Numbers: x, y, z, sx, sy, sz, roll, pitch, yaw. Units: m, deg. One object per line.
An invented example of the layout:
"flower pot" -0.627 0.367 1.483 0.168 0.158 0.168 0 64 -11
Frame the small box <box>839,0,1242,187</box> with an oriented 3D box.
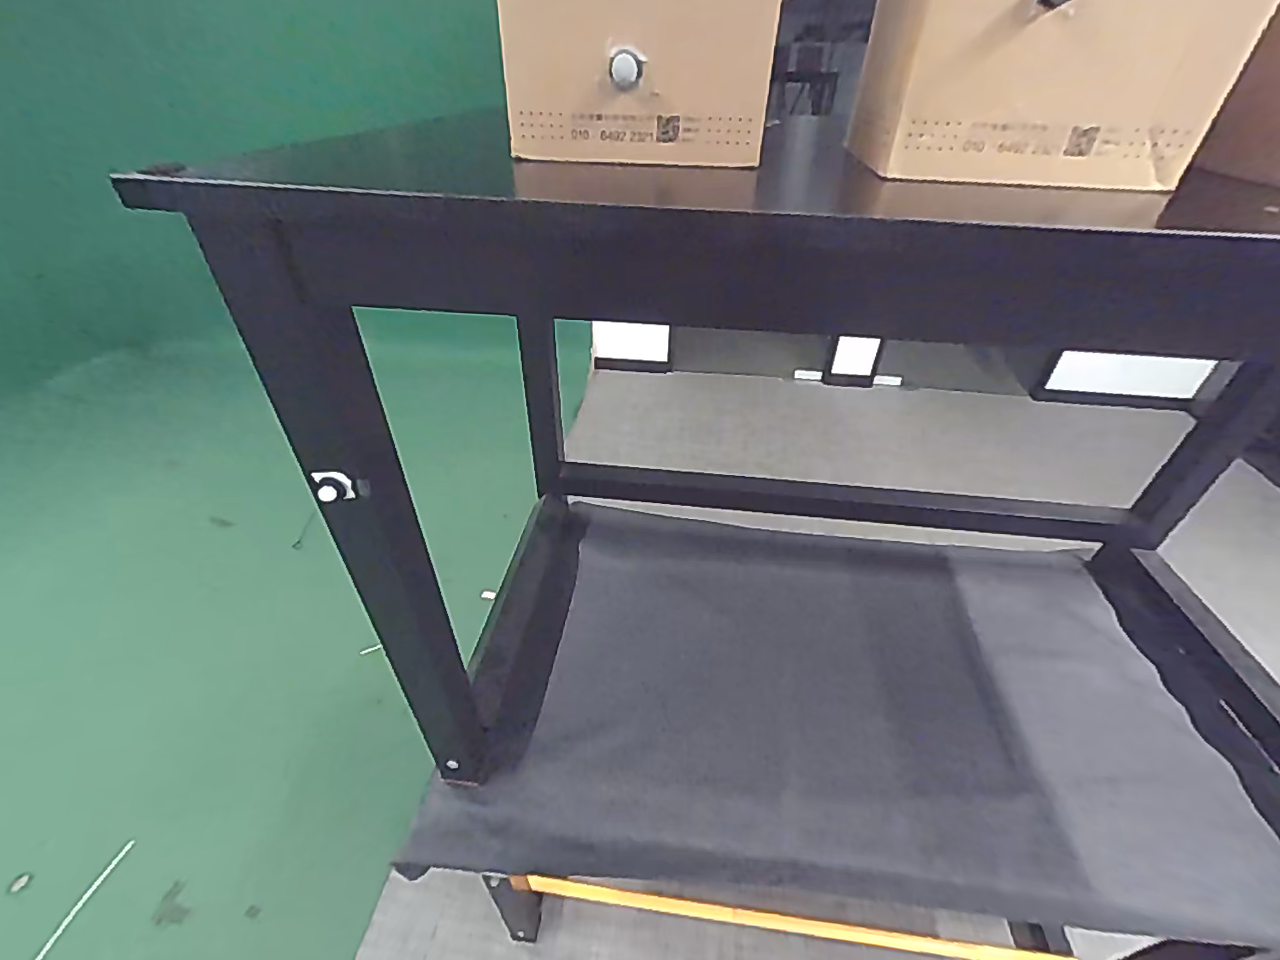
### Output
"small box" 0.235 -0.292 0.340 0.168 0.176 0.179 6 37 7
